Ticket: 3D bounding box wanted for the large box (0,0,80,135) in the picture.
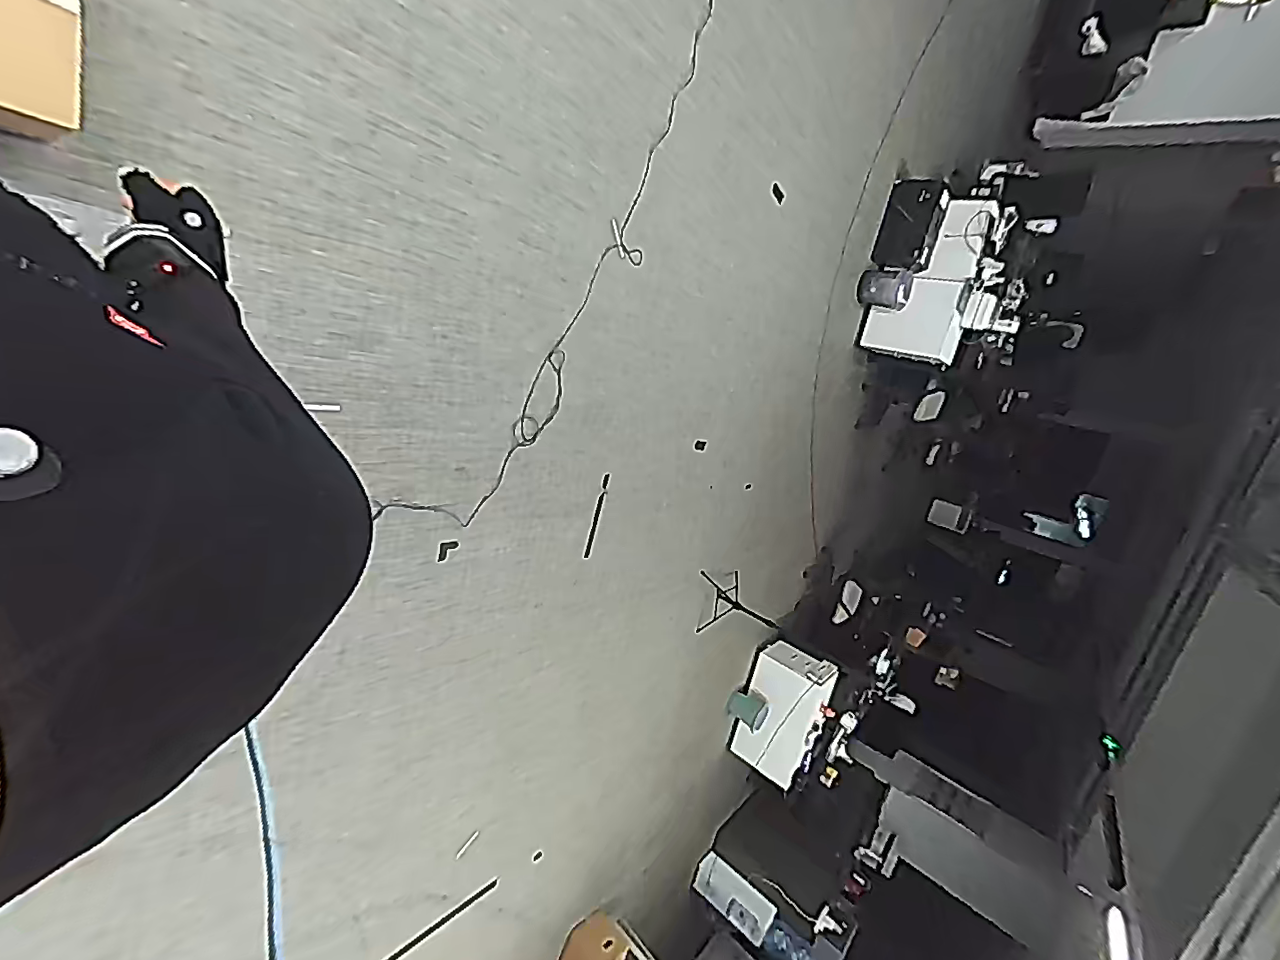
[{"bbox_3d":[-1.005,-0.685,0.664,0.408,0.320,0.320,-4,112,-53],"label":"large box"}]
